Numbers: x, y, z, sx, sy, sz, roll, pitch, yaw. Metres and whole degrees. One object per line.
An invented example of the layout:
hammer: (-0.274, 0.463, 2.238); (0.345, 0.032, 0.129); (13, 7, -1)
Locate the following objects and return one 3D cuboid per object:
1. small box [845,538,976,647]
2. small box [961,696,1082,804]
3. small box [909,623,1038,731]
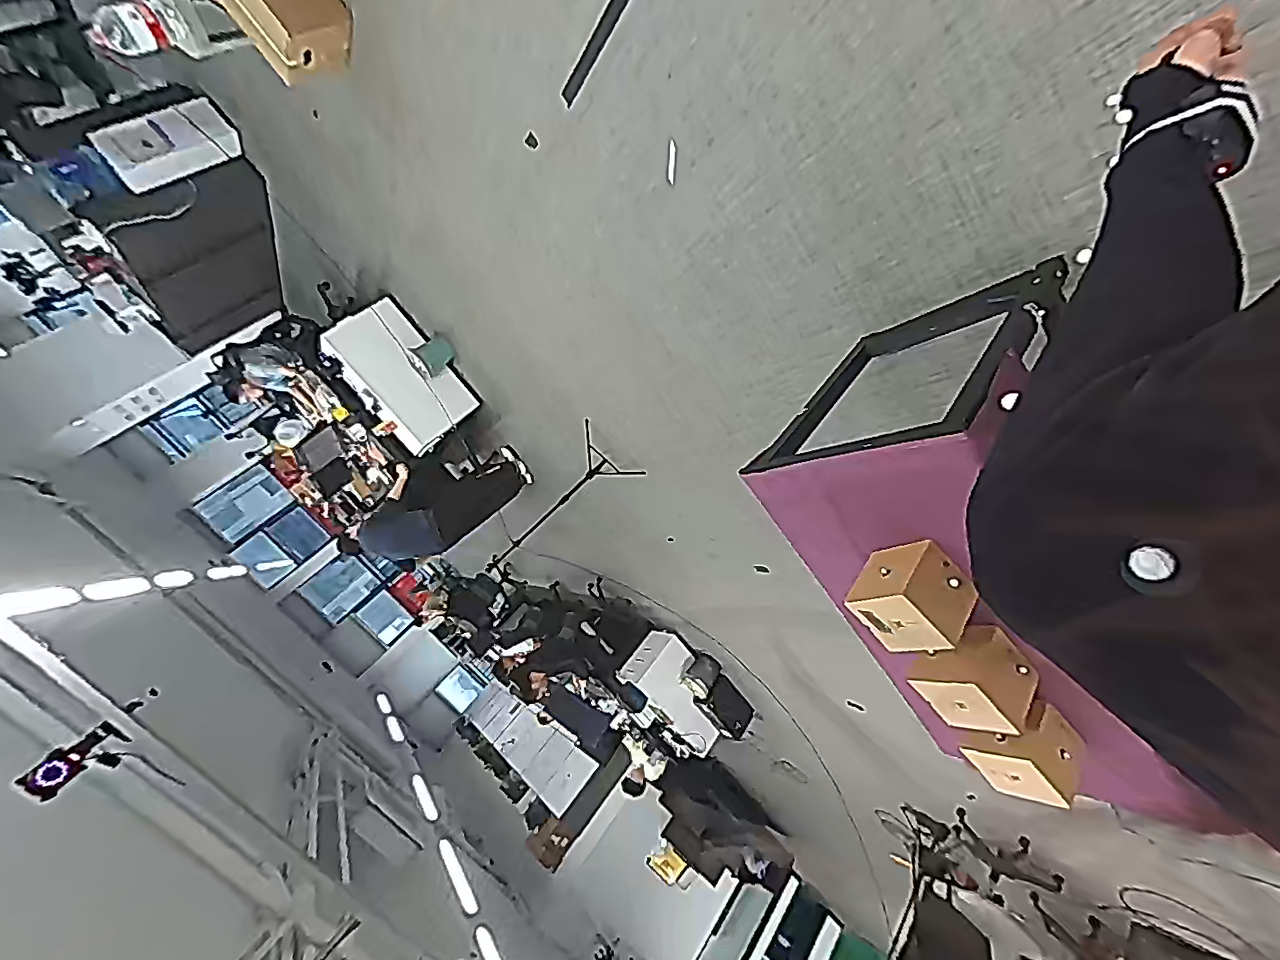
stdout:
small box: (0.613, 0.256, 1.223); (0.168, 0.176, 0.179); (45, 152, -3)
small box: (0.942, 0.645, 1.327); (0.168, 0.176, 0.179); (48, 153, -7)
small box: (0.785, 0.454, 1.273); (0.168, 0.176, 0.179); (46, 153, -6)
